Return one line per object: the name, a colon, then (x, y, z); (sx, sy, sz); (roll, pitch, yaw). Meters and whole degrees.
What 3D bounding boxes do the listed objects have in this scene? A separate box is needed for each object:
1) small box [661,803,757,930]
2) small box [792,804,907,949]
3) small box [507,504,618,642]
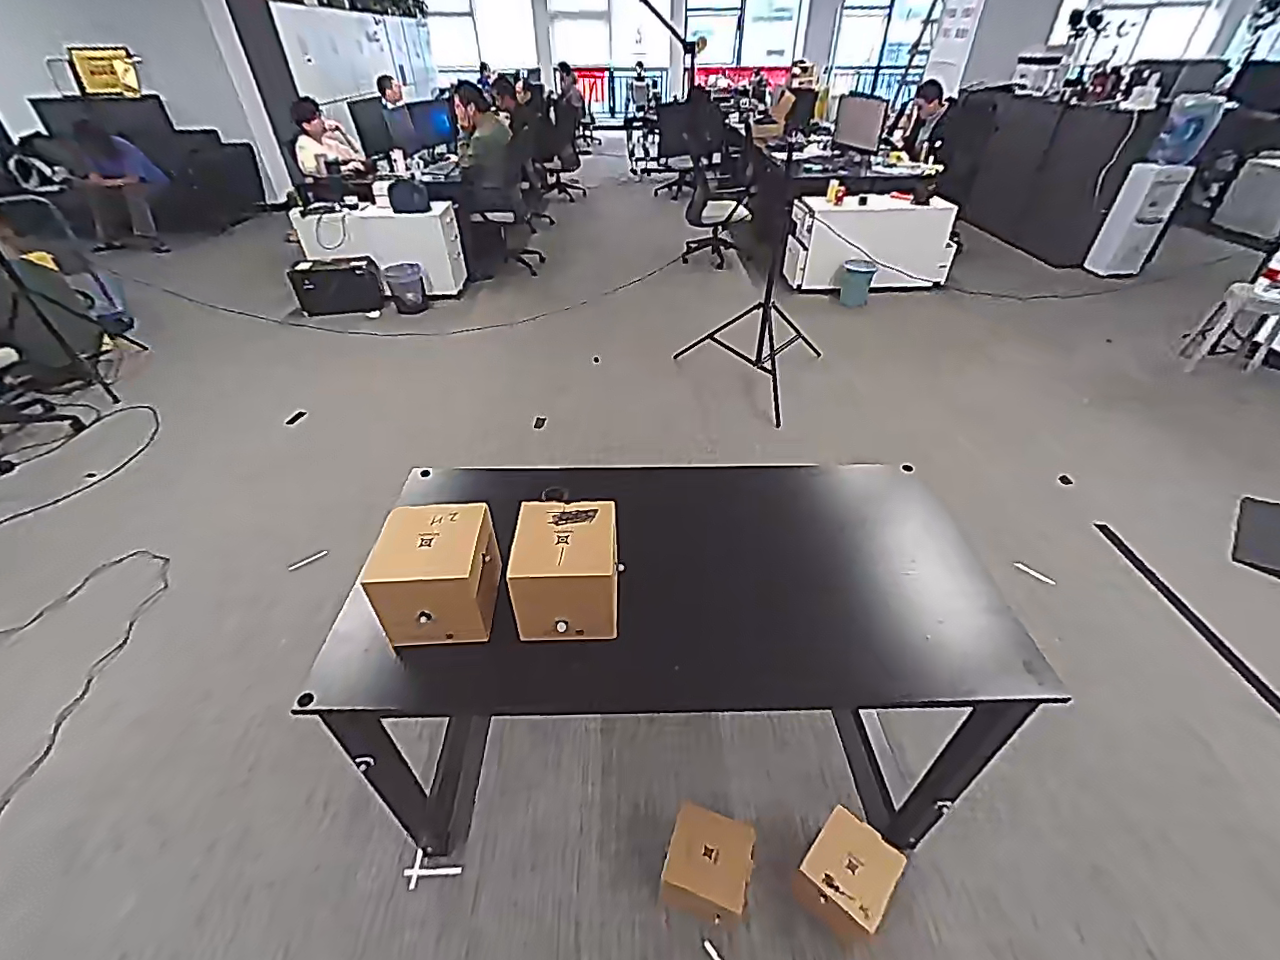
small box: (0.154, 0.873, 1.218); (0.179, 0.176, 0.168); (12, 40, 16)
small box: (0.457, 0.879, 1.201); (0.168, 0.176, 0.179); (29, 48, 32)
small box: (-0.124, 0.160, 0.942); (0.168, 0.176, 0.179); (-2, 39, -1)
